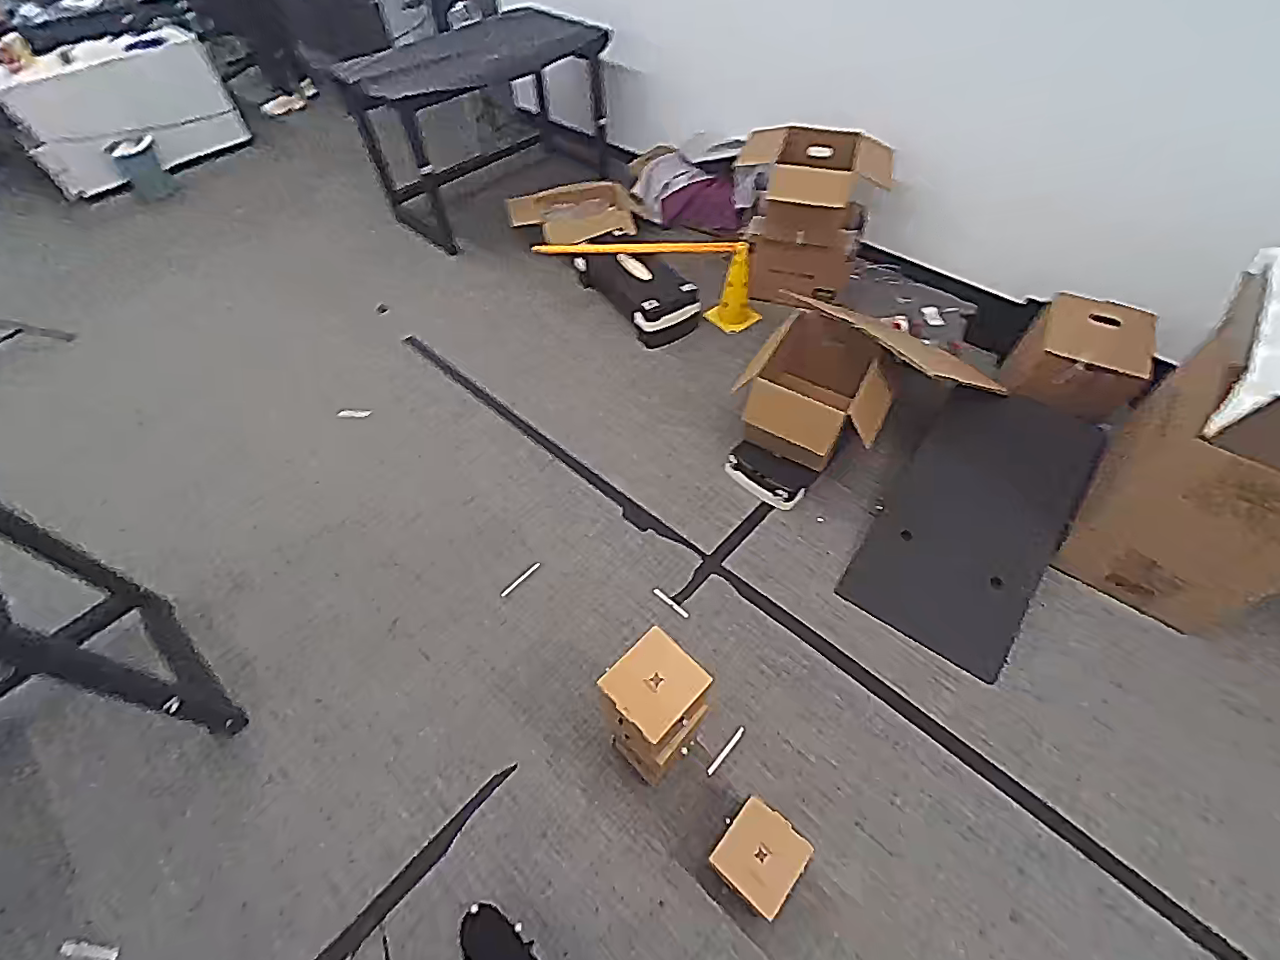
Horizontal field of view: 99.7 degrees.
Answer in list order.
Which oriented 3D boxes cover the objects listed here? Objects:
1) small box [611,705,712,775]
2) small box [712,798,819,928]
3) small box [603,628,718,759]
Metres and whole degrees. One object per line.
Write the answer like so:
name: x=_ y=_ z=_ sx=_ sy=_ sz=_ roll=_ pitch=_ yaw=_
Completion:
small box: x=0.045 y=0.559 z=1.267 sx=0.179 sy=0.176 sz=0.168 roll=37 pitch=62 yaw=24
small box: x=0.277 y=0.872 z=1.239 sx=0.168 sy=0.176 sz=0.179 roll=34 pitch=62 yaw=25
small box: x=0.039 y=0.454 z=1.143 sx=0.179 sy=0.176 sz=0.168 roll=-39 pitch=63 yaw=-24
